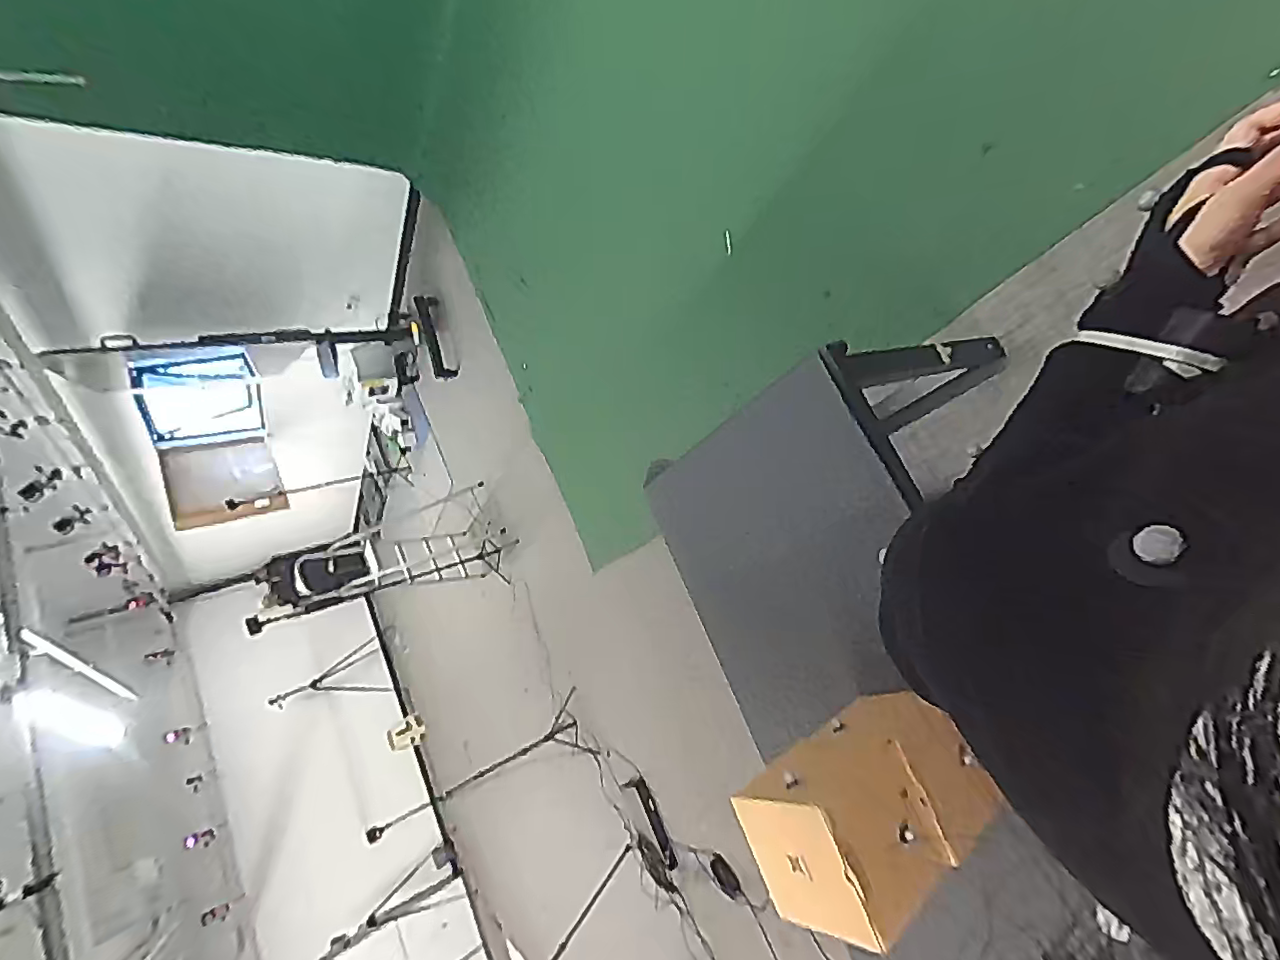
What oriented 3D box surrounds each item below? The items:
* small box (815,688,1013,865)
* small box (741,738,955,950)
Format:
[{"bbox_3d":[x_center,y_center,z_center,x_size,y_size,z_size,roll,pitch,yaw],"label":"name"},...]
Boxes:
[{"bbox_3d":[0.410,0.434,0.818,0.179,0.176,0.168,-41,69,52],"label":"small box"},{"bbox_3d":[0.277,0.469,0.732,0.179,0.176,0.168,-40,69,52],"label":"small box"}]
